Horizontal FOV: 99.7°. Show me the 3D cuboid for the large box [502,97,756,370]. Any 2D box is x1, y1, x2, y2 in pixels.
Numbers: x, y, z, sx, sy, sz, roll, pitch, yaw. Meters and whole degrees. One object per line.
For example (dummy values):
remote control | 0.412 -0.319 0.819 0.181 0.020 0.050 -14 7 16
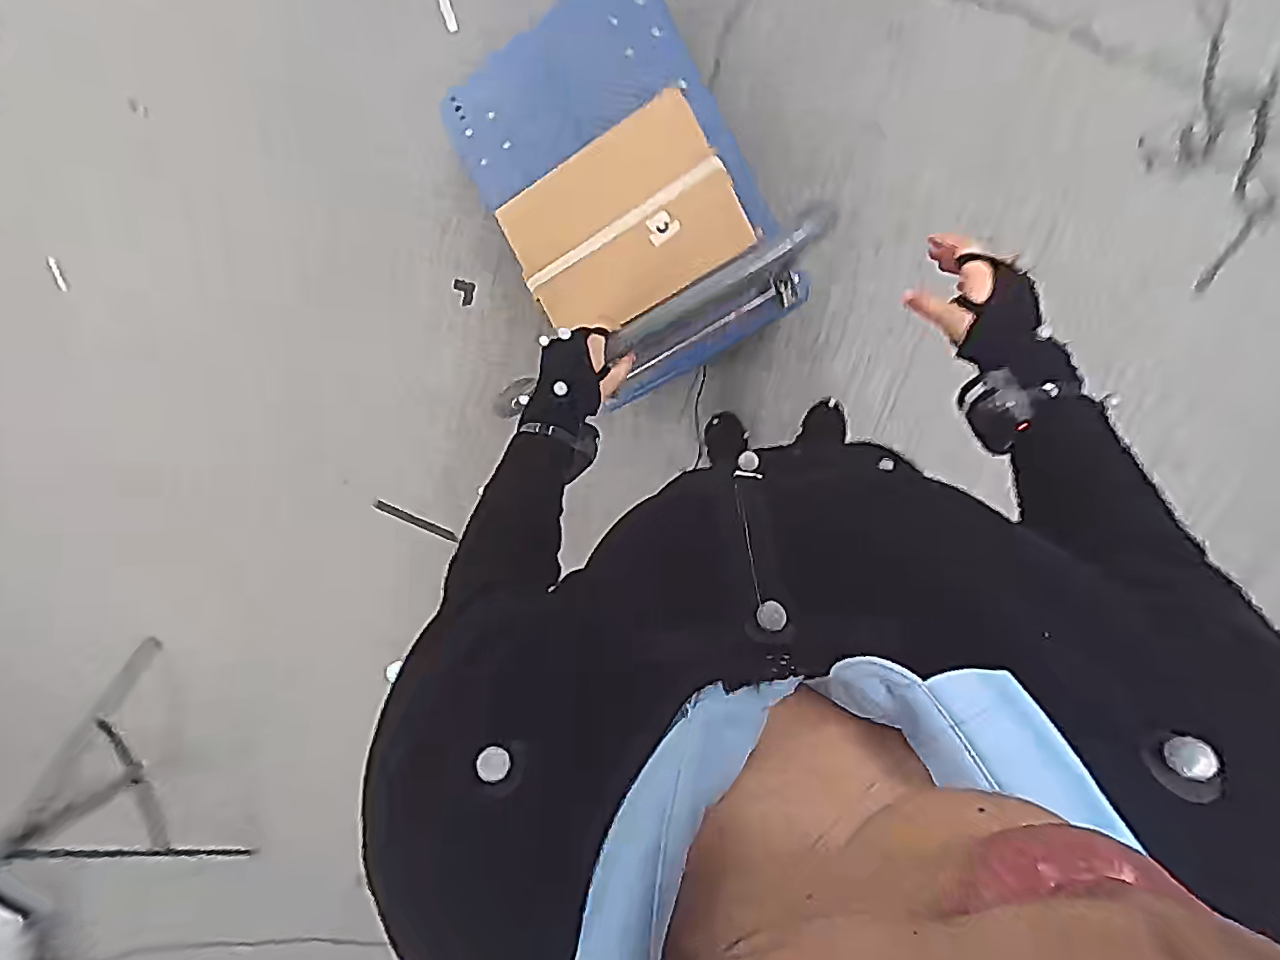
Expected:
large box | -0.003 -0.472 1.144 0.408 0.320 0.320 -27 92 13
